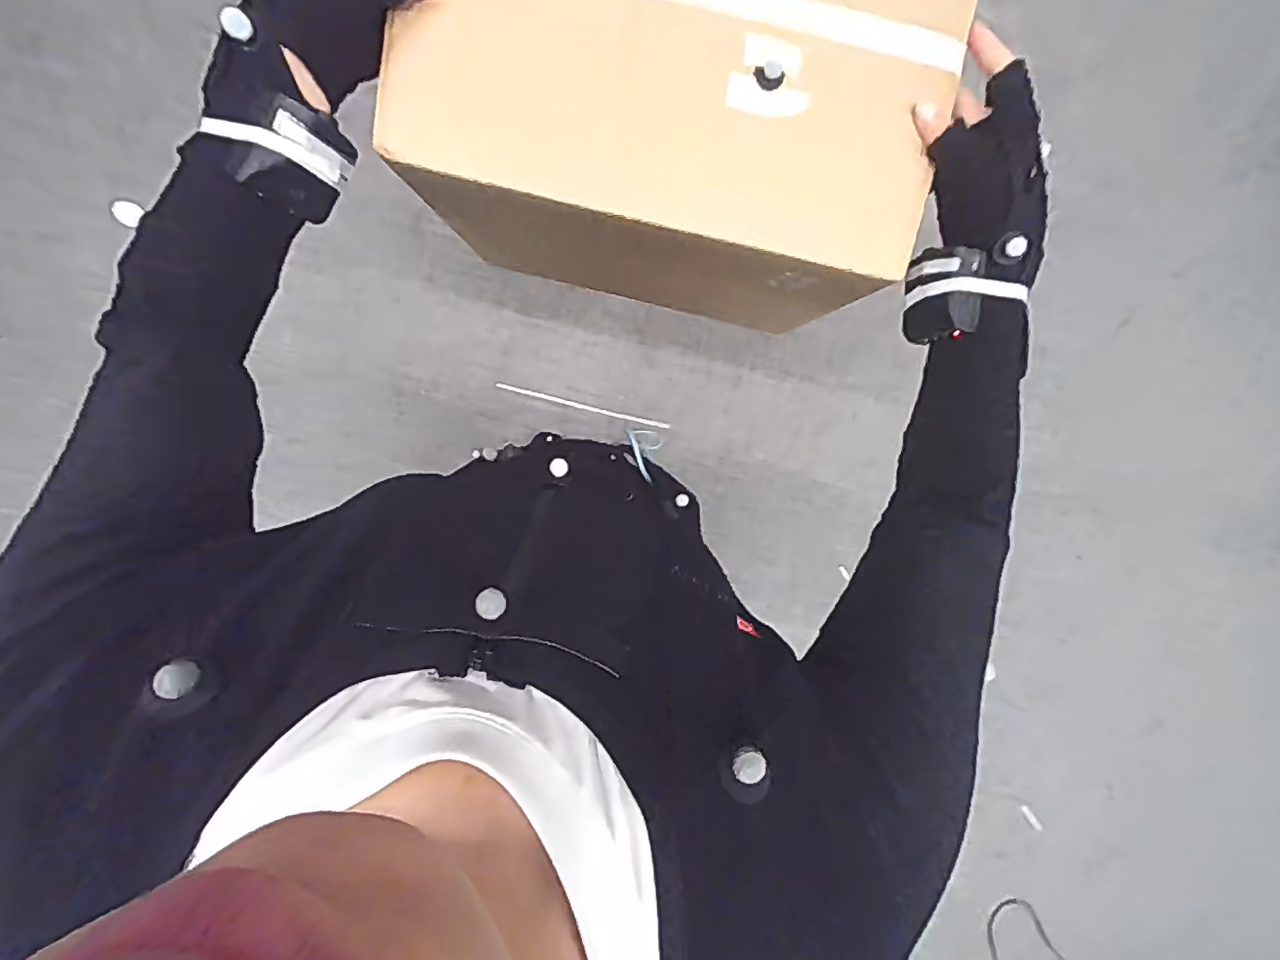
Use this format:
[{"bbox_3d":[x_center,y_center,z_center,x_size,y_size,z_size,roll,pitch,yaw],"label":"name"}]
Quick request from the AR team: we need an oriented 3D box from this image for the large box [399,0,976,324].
[{"bbox_3d":[0.036,-0.370,0.538,0.408,0.320,0.320,12,98,-5],"label":"large box"}]
